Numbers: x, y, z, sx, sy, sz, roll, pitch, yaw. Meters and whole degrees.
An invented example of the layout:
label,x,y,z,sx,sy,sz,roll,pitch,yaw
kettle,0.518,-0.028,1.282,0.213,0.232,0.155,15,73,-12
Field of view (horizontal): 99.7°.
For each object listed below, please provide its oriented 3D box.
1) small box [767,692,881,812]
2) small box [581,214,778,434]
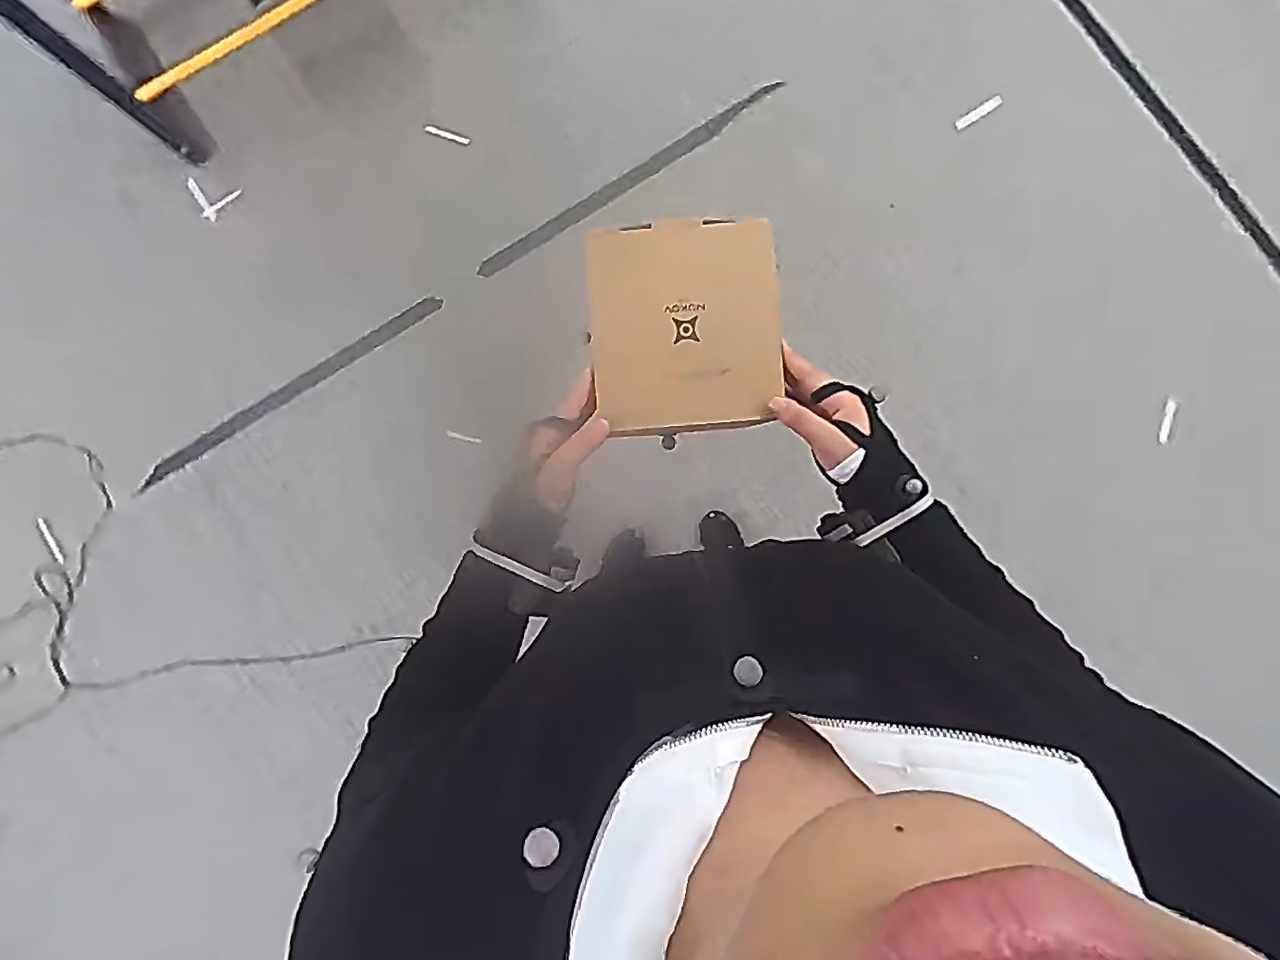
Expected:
label,x,y,z,sx,sy,sz,roll,pitch,yaw
small box,0.422,0.626,1.276,0.168,0.176,0.179,-32,85,-1
small box,0.032,-0.143,0.550,0.168,0.176,0.179,-5,93,-1
